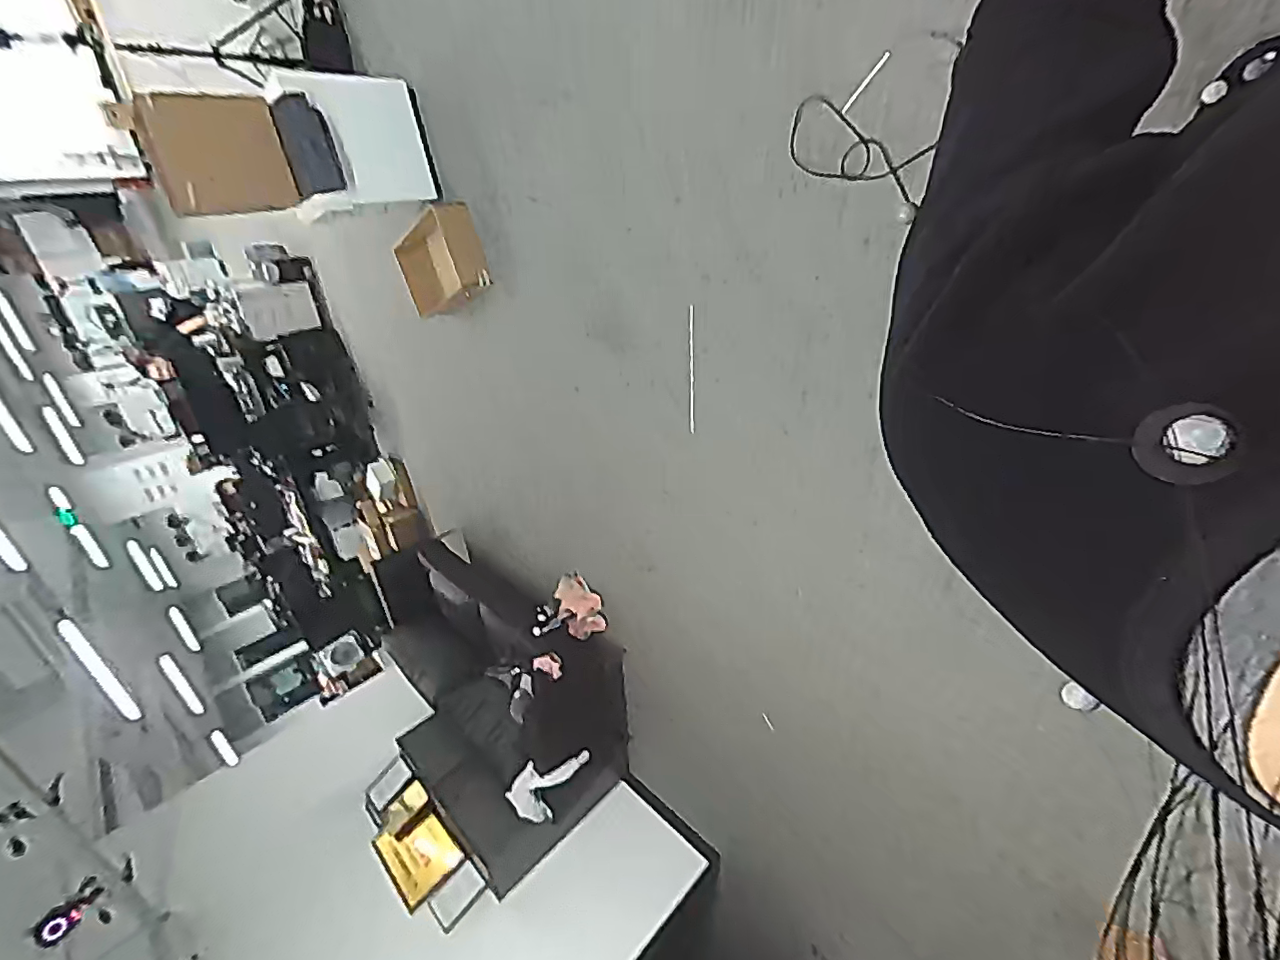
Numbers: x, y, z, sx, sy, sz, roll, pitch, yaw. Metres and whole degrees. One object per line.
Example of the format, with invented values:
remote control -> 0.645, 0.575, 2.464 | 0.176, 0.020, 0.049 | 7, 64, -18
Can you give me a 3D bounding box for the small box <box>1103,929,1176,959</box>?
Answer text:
small box -> 1.457, 1.463, 1.557 | 0.168, 0.176, 0.179 | 25, 128, 38
